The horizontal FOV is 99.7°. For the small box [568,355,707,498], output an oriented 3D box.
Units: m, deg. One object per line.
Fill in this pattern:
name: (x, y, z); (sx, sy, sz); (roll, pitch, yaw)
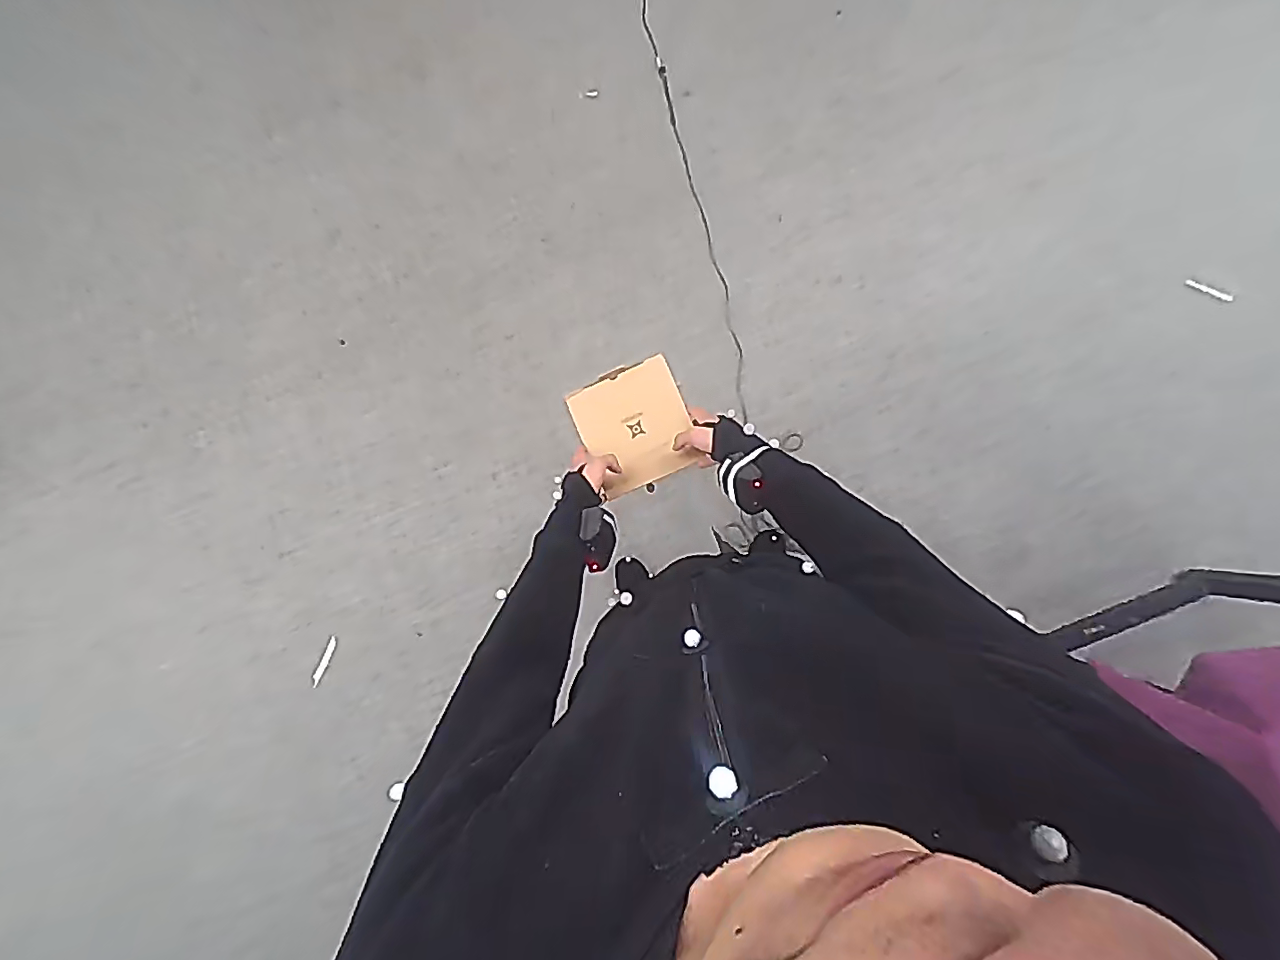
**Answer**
small box: (-0.003, -0.080, 0.896); (0.168, 0.176, 0.179); (-23, 90, 2)
